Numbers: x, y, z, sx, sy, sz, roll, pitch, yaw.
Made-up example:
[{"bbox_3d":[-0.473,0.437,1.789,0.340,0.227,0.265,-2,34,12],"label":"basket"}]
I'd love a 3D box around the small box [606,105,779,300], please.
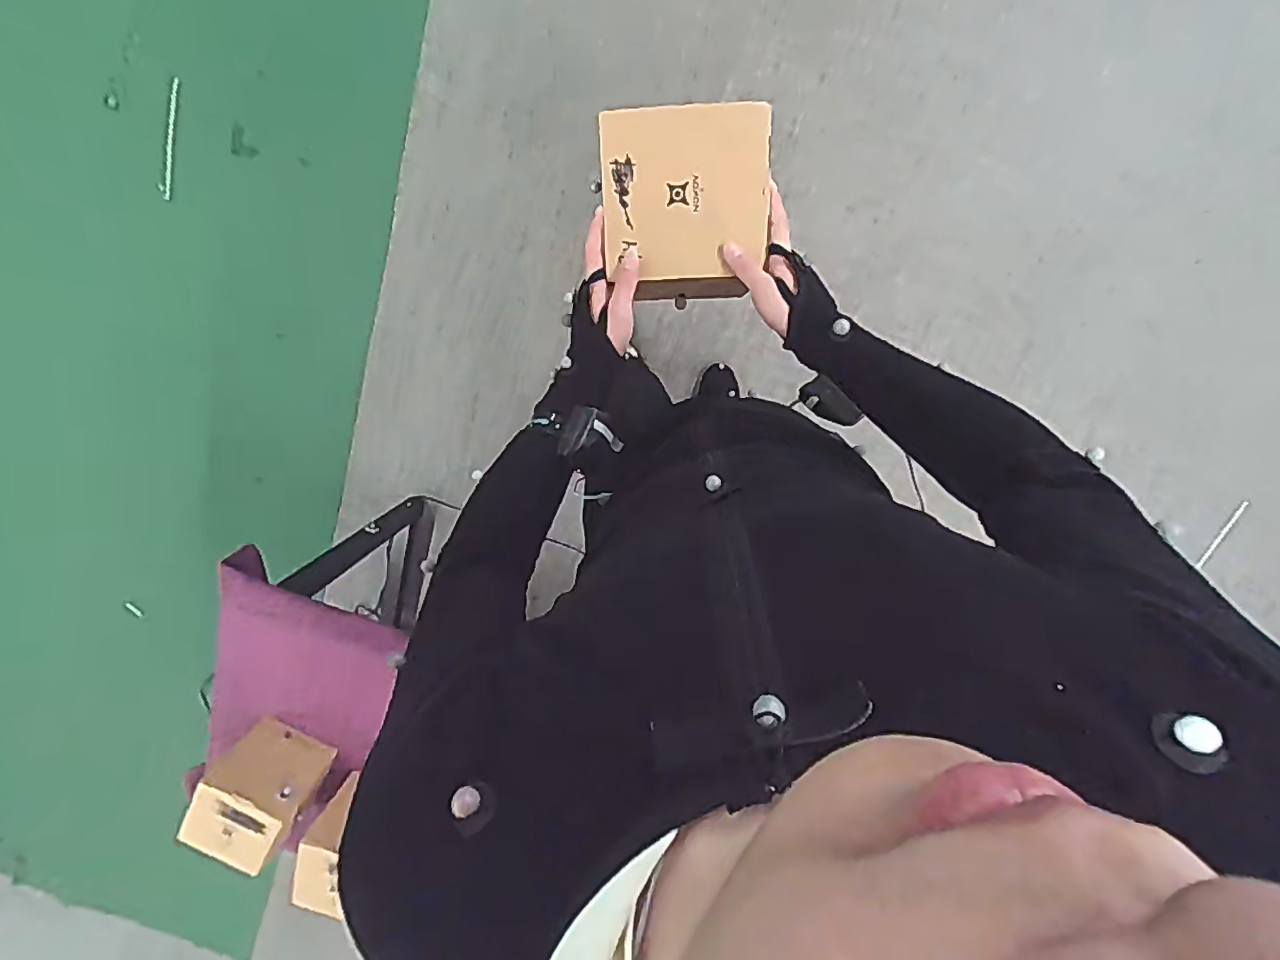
[{"bbox_3d":[0.053,-0.308,0.632,0.179,0.176,0.168,-1,101,1],"label":"small box"}]
